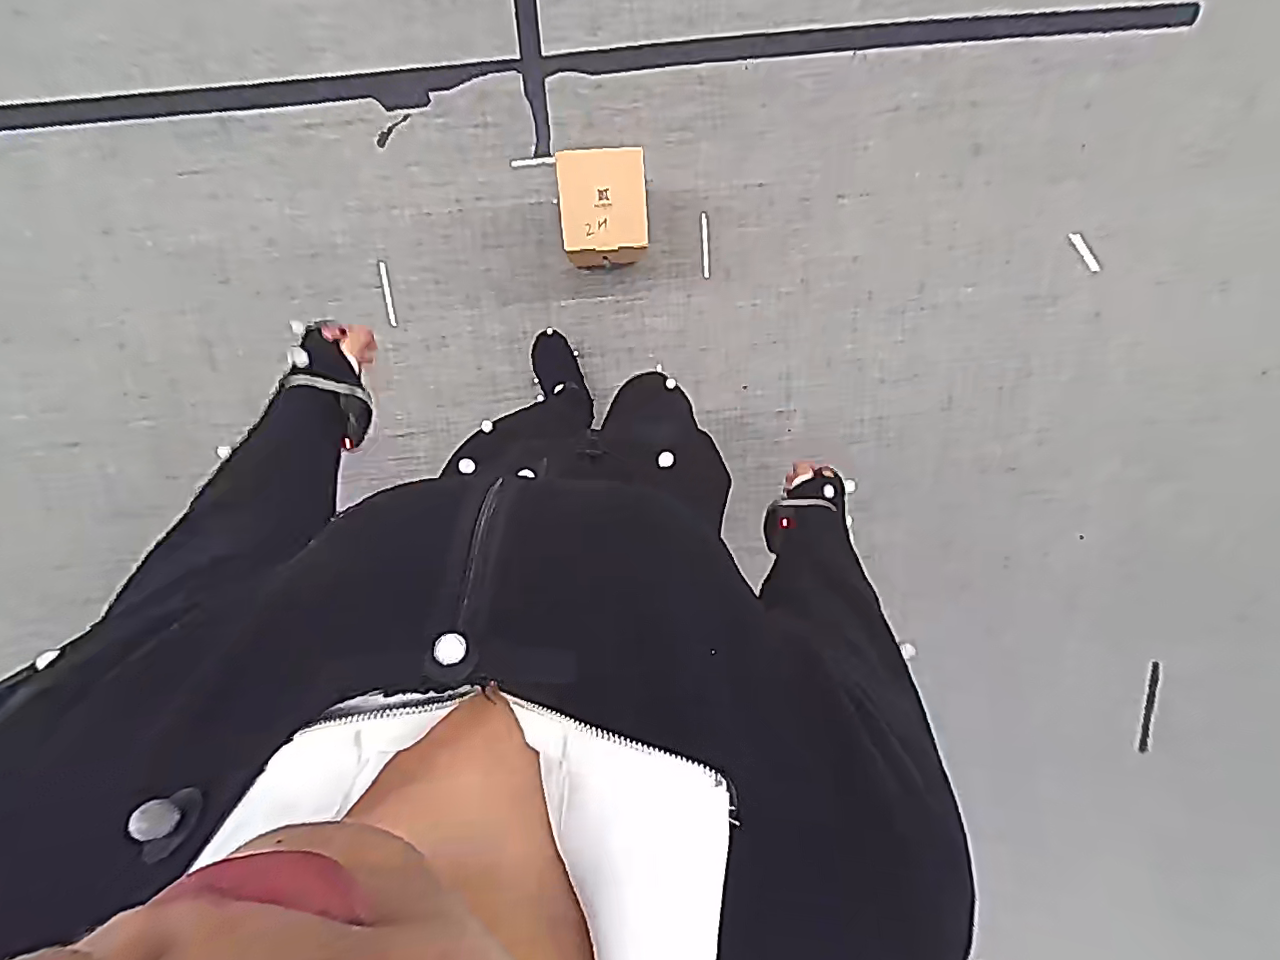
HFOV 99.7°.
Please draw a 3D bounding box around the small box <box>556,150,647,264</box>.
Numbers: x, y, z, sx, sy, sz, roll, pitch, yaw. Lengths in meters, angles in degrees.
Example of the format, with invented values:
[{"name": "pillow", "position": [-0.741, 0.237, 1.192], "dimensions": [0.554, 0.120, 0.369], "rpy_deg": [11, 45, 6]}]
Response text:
[{"name": "small box", "position": [-0.078, -0.548, 1.104], "dimensions": [0.168, 0.176, 0.179], "rpy_deg": [-5, 106, -3]}]
